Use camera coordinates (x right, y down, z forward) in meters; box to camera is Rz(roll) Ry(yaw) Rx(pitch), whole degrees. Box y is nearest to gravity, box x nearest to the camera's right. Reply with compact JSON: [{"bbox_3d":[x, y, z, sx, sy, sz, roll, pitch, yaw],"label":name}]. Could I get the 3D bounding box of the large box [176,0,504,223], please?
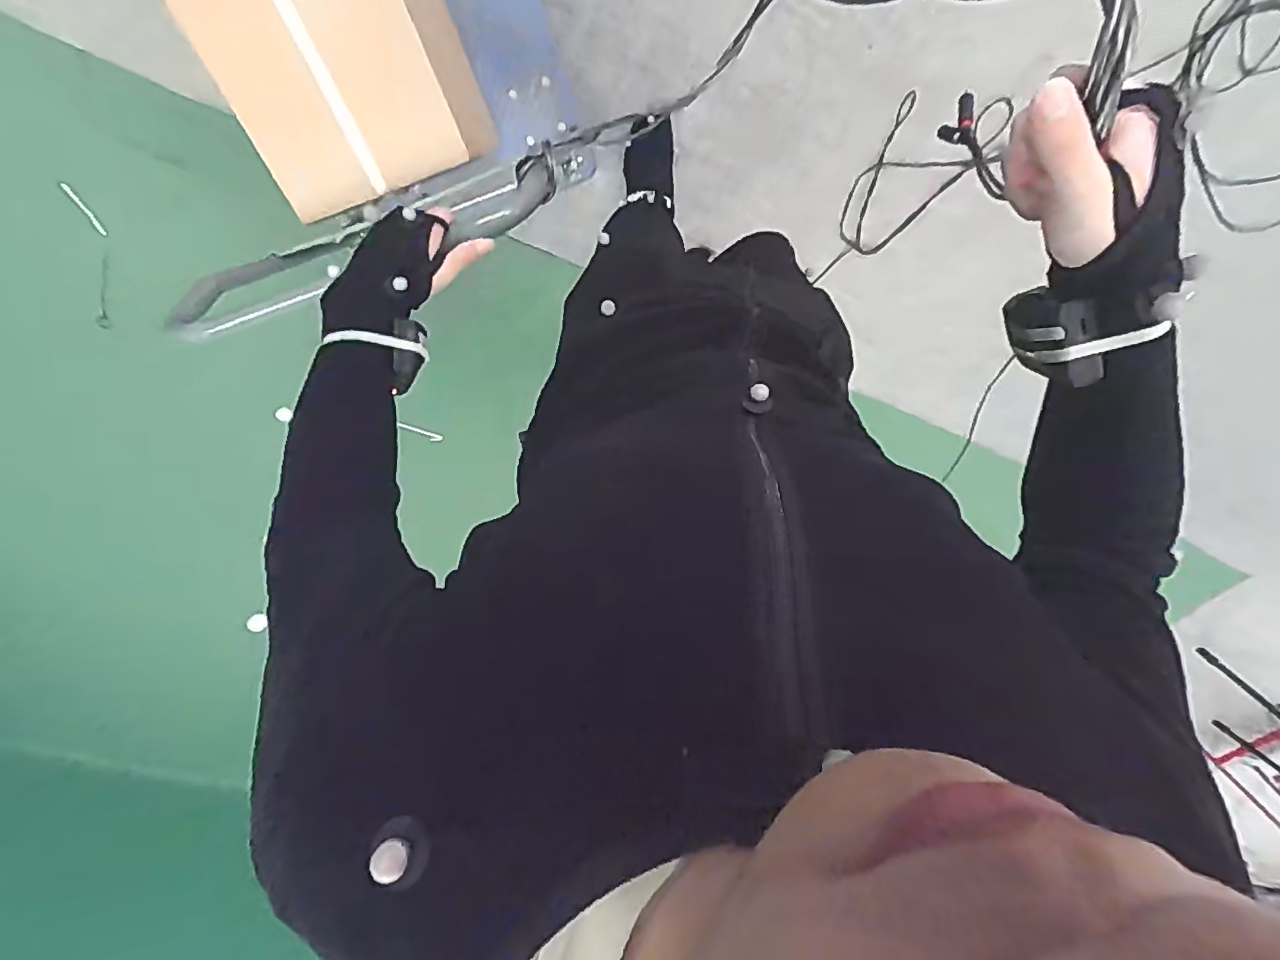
[{"bbox_3d":[-0.474,-0.707,0.908,0.320,0.320,0.408,-15,123,7],"label":"large box"}]
